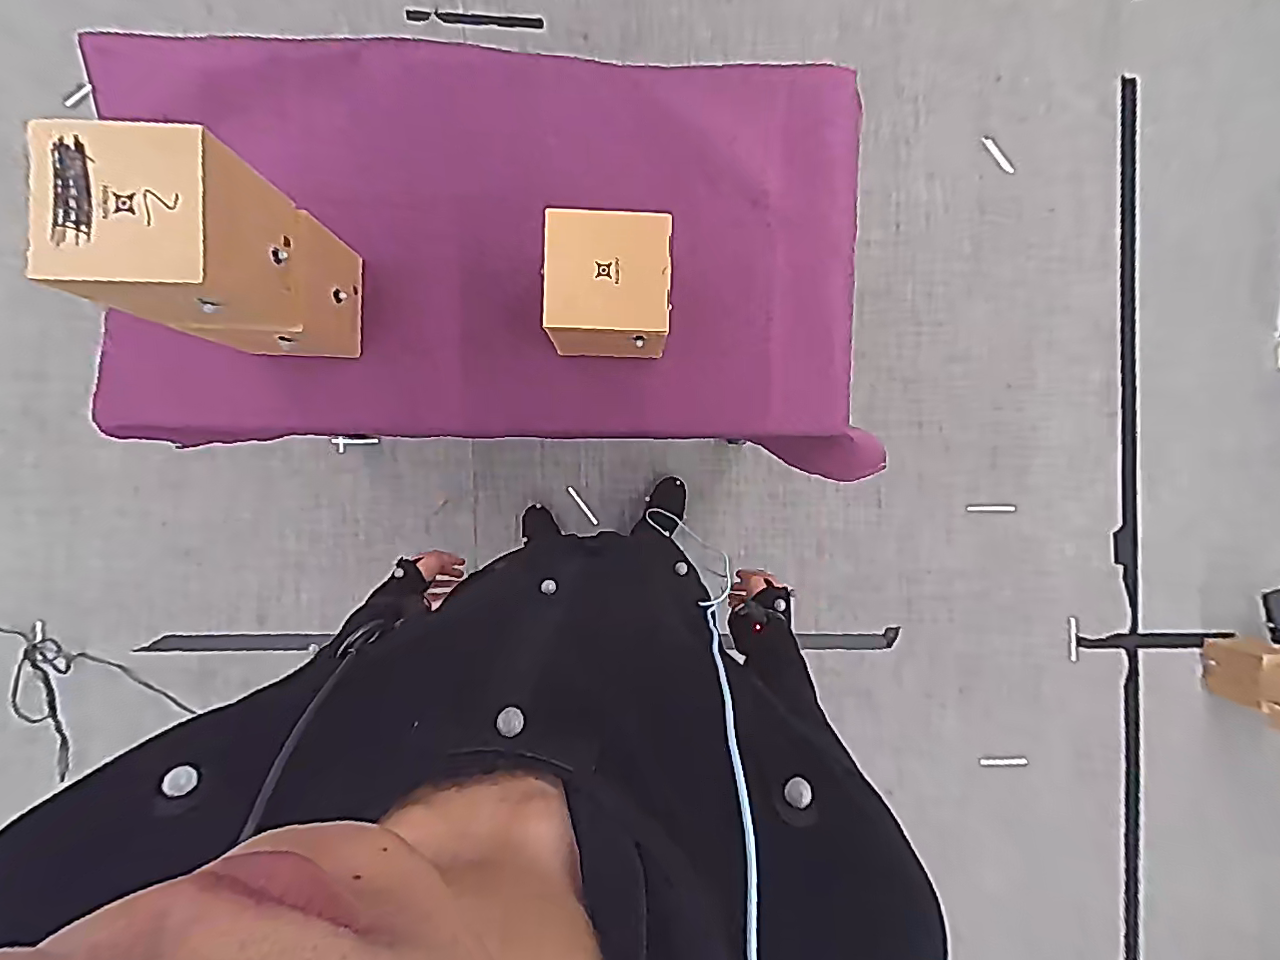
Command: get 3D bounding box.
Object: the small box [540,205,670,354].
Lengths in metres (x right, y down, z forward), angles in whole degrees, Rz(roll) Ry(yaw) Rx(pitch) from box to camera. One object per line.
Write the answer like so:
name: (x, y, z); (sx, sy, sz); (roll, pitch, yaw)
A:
small box: (-0.050, -0.291, 0.817); (0.179, 0.176, 0.168); (1, 91, -3)

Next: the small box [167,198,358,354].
small box: (-0.538, -0.286, 0.795); (0.179, 0.176, 0.168); (2, 91, -3)
